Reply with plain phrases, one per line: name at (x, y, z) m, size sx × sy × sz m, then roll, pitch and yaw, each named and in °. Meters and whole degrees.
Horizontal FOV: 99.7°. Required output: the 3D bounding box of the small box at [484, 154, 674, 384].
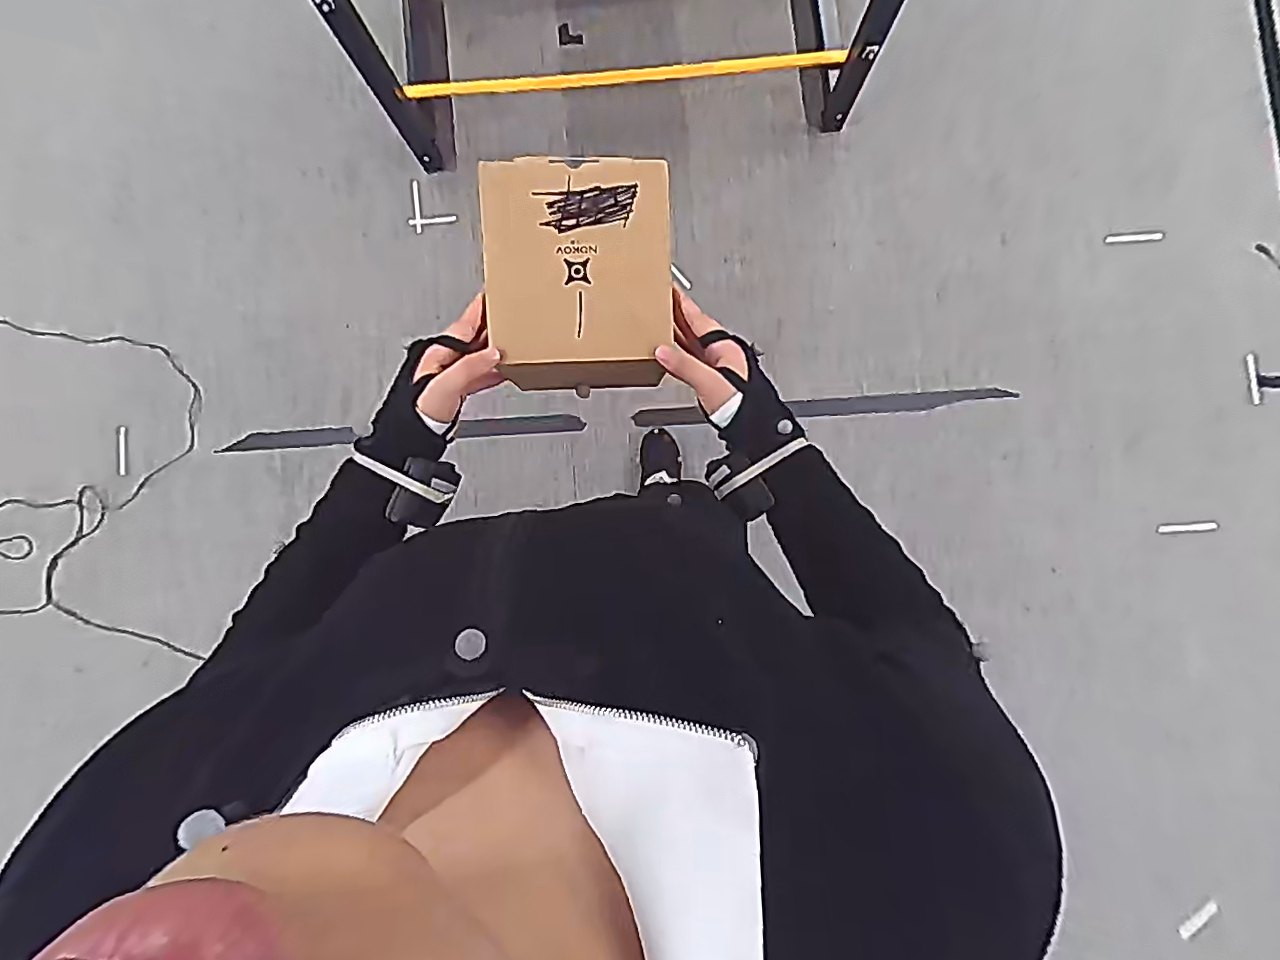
small box at (-0.058, -0.201, 0.556) m, size 0.168 × 0.176 × 0.179 m, roll -2°, pitch 92°, yaw -3°
